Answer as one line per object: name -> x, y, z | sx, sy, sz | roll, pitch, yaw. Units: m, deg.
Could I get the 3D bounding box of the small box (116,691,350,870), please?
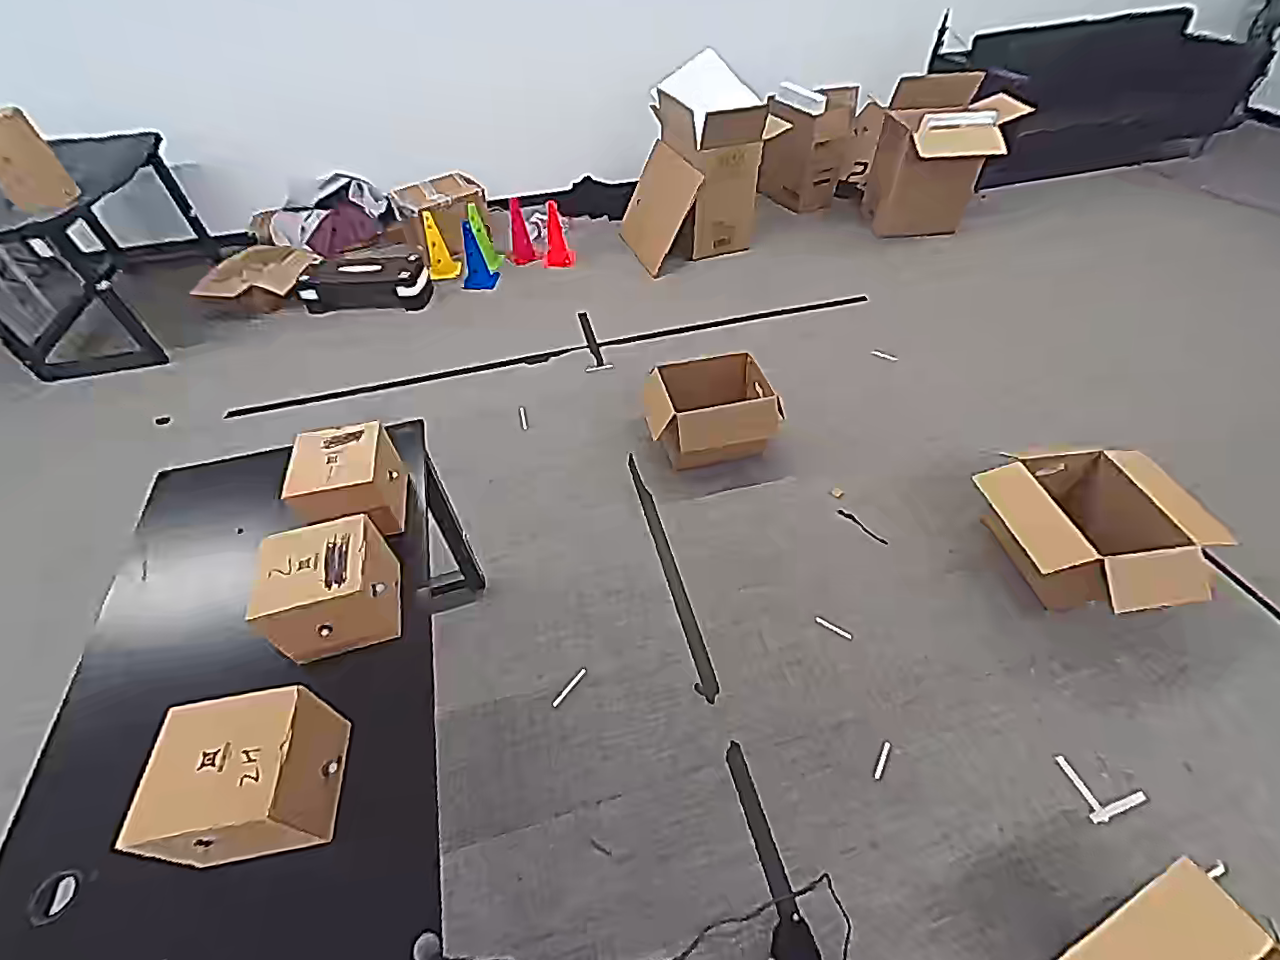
small box -> -0.539, 0.418, 0.749 | 0.179, 0.176, 0.168 | -9, 49, -6

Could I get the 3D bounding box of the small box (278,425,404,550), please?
small box -> -0.599, 0.016, 1.110 | 0.168, 0.176, 0.179 | -12, 50, -7
